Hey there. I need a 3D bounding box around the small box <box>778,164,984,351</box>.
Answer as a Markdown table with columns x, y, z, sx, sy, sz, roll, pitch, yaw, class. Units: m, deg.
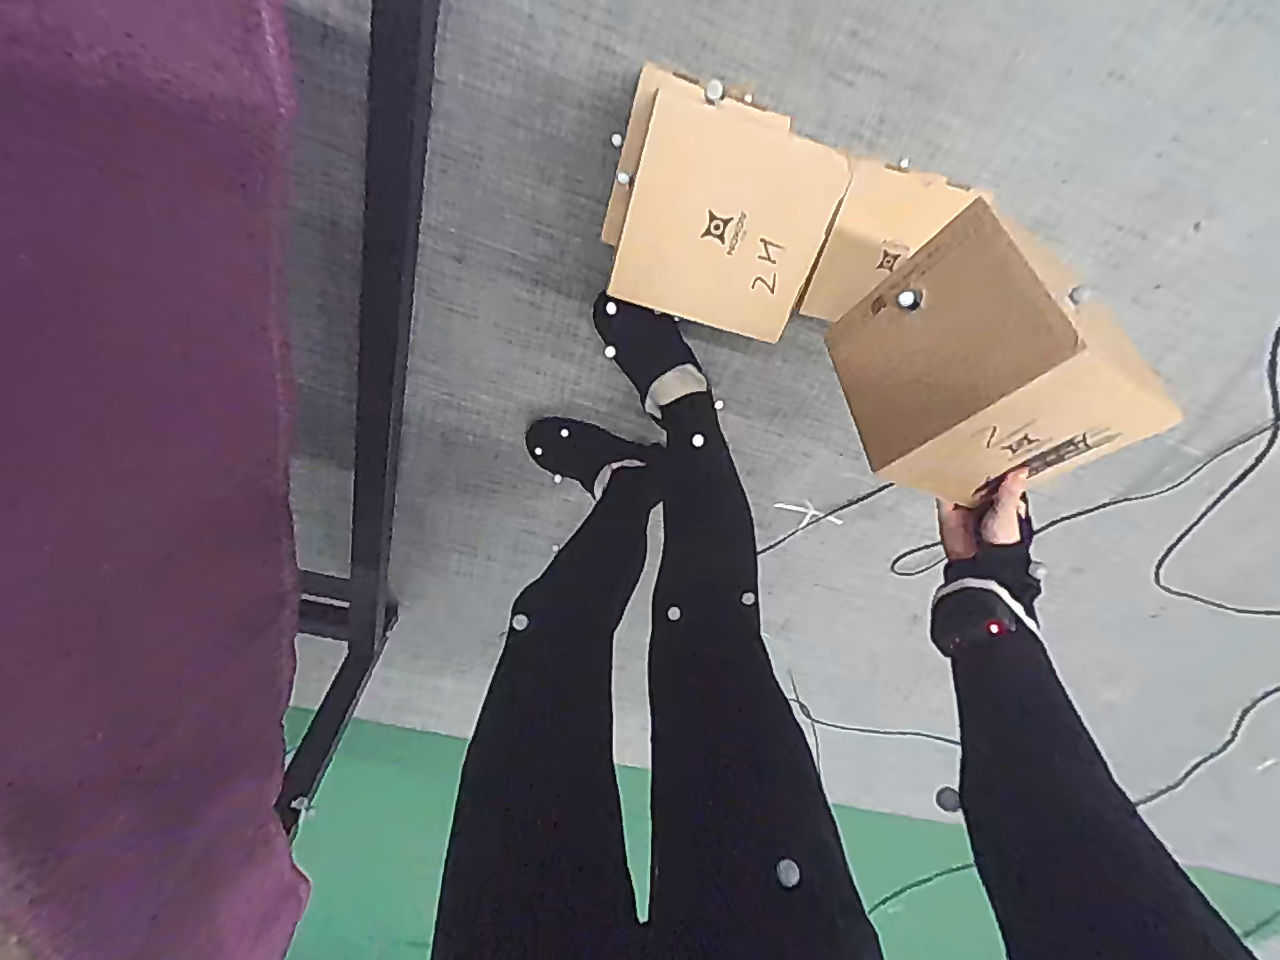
| x | y | z | sx | sy | sz | roll | pitch | yaw | class |
| --- | --- | --- | --- | --- | --- | --- | --- | --- | --- |
| 0.296 | -0.298 | 0.715 | 0.168 | 0.176 | 0.179 | 11 | 122 | -7 | small box |
